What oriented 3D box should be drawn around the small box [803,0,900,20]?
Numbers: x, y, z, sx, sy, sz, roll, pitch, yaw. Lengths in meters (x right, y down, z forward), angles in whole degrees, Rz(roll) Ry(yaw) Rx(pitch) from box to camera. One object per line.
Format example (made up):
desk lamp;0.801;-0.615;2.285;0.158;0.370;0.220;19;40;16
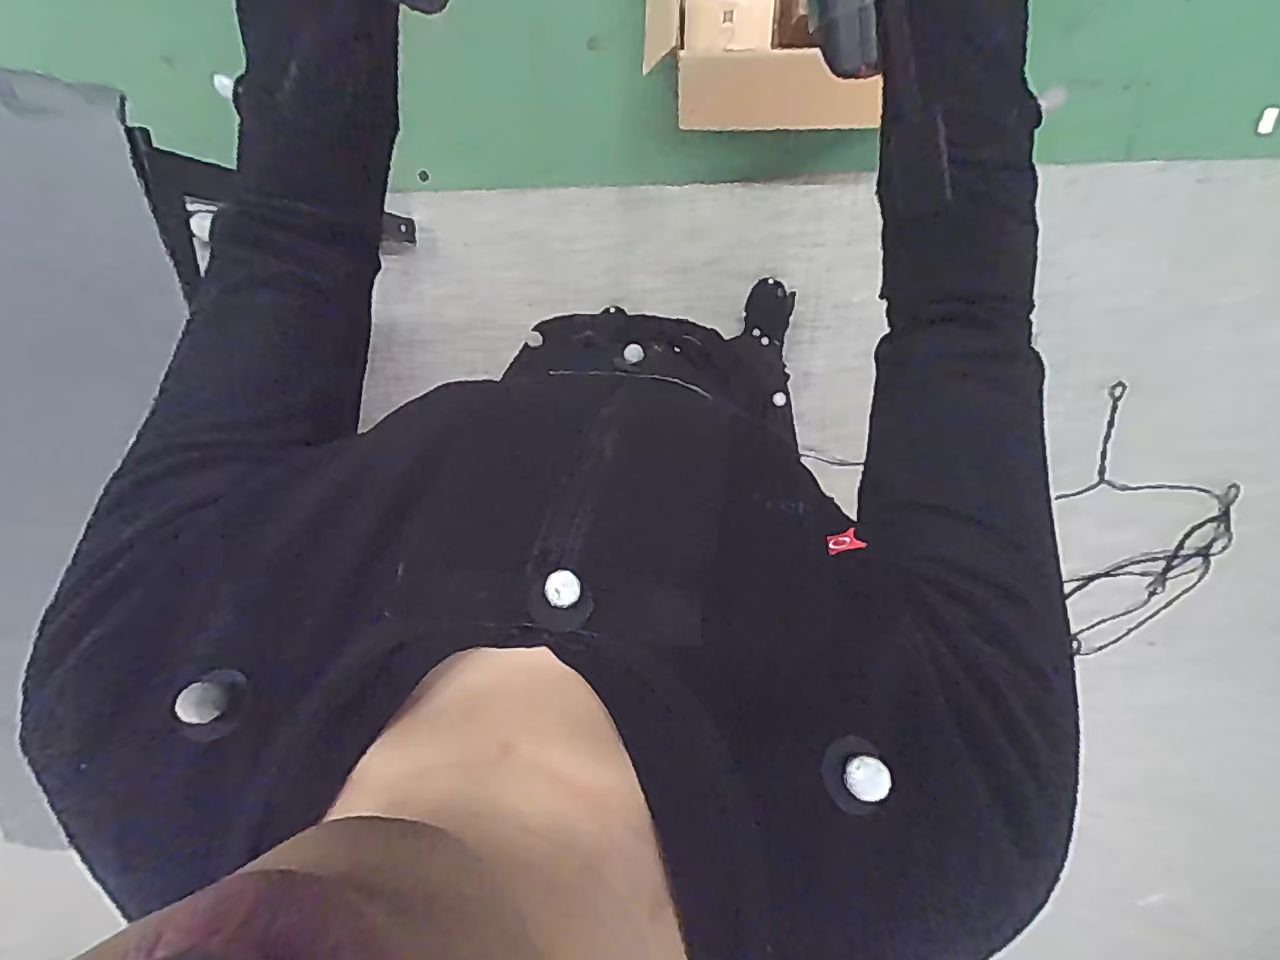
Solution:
small box;0.376;-0.900;0.889;0.168;0.176;0.179;3;108;0
